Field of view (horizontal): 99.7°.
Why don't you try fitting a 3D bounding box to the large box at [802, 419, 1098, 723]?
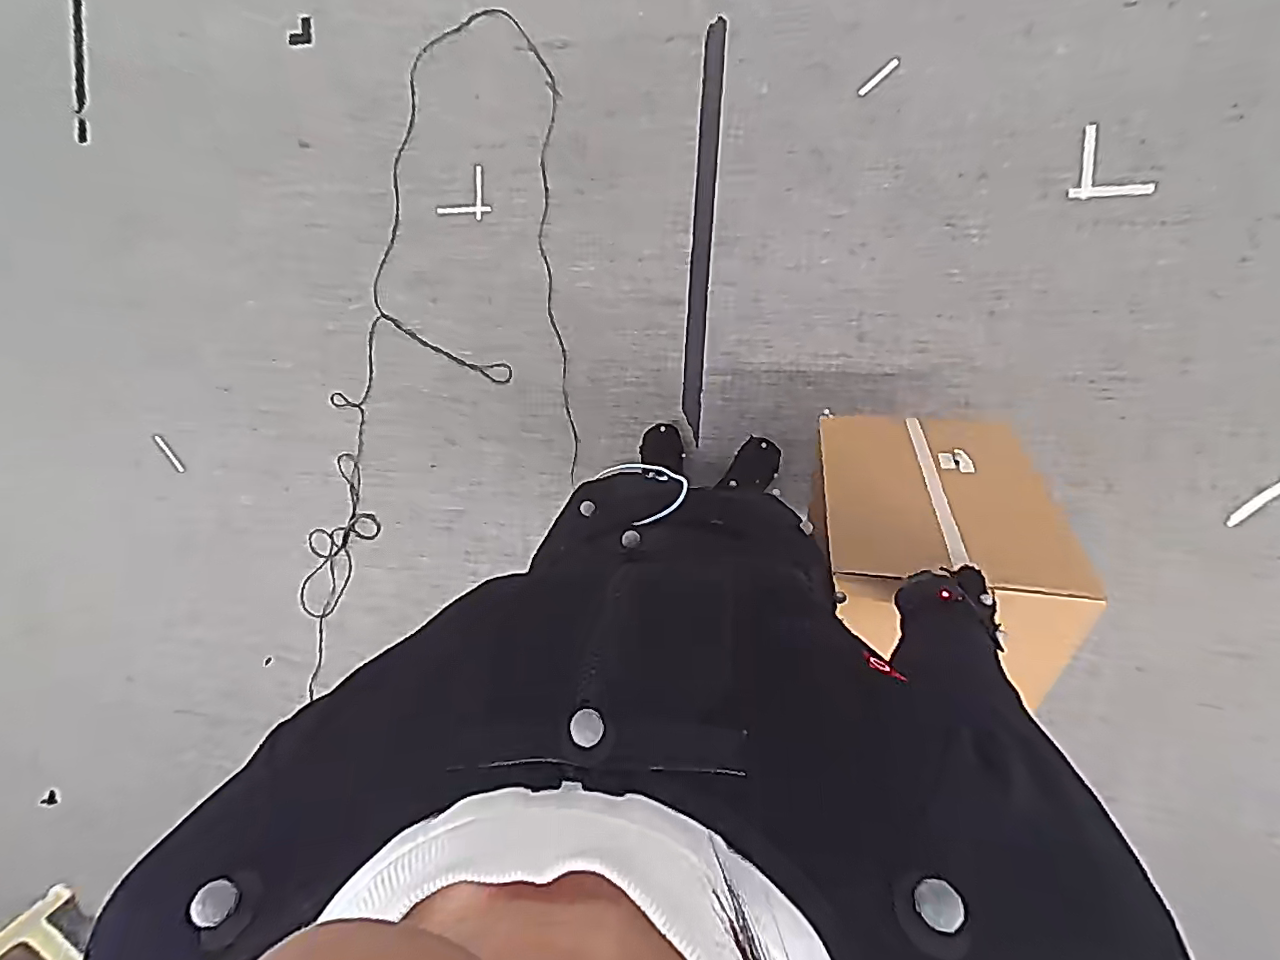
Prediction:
[{"bbox_3d":[0.454,0.133,0.919,0.320,0.408,0.320,4,126,11],"label":"large box"}]
